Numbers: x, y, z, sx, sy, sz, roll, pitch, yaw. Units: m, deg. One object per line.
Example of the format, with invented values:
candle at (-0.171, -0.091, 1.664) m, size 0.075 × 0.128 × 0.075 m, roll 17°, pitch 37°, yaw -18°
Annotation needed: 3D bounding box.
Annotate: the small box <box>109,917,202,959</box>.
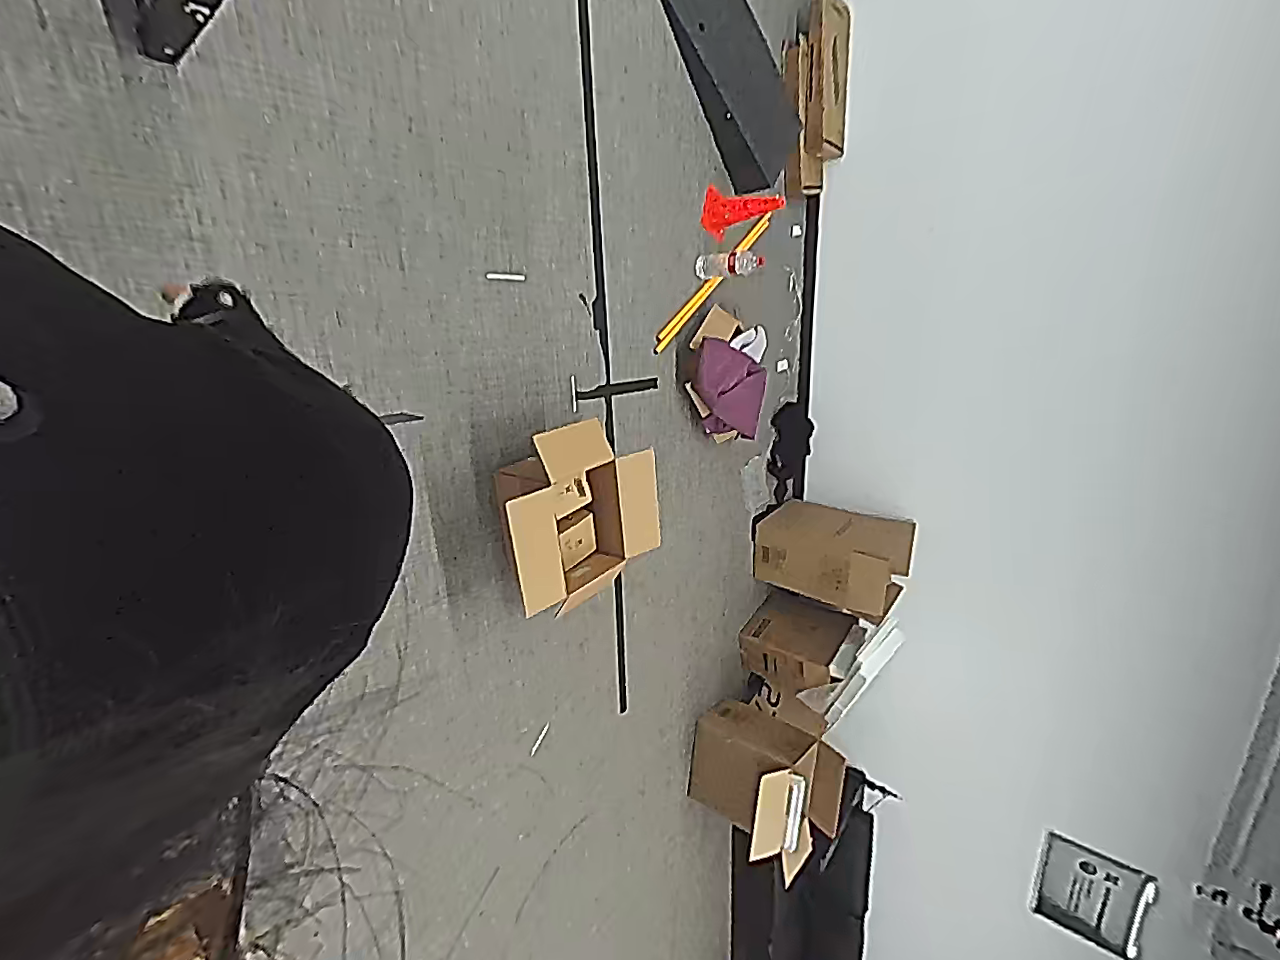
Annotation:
small box at (-1.082, 1.139, 1.197) m, size 0.179 × 0.176 × 0.168 m, roll -18°, pitch 110°, yaw -46°
